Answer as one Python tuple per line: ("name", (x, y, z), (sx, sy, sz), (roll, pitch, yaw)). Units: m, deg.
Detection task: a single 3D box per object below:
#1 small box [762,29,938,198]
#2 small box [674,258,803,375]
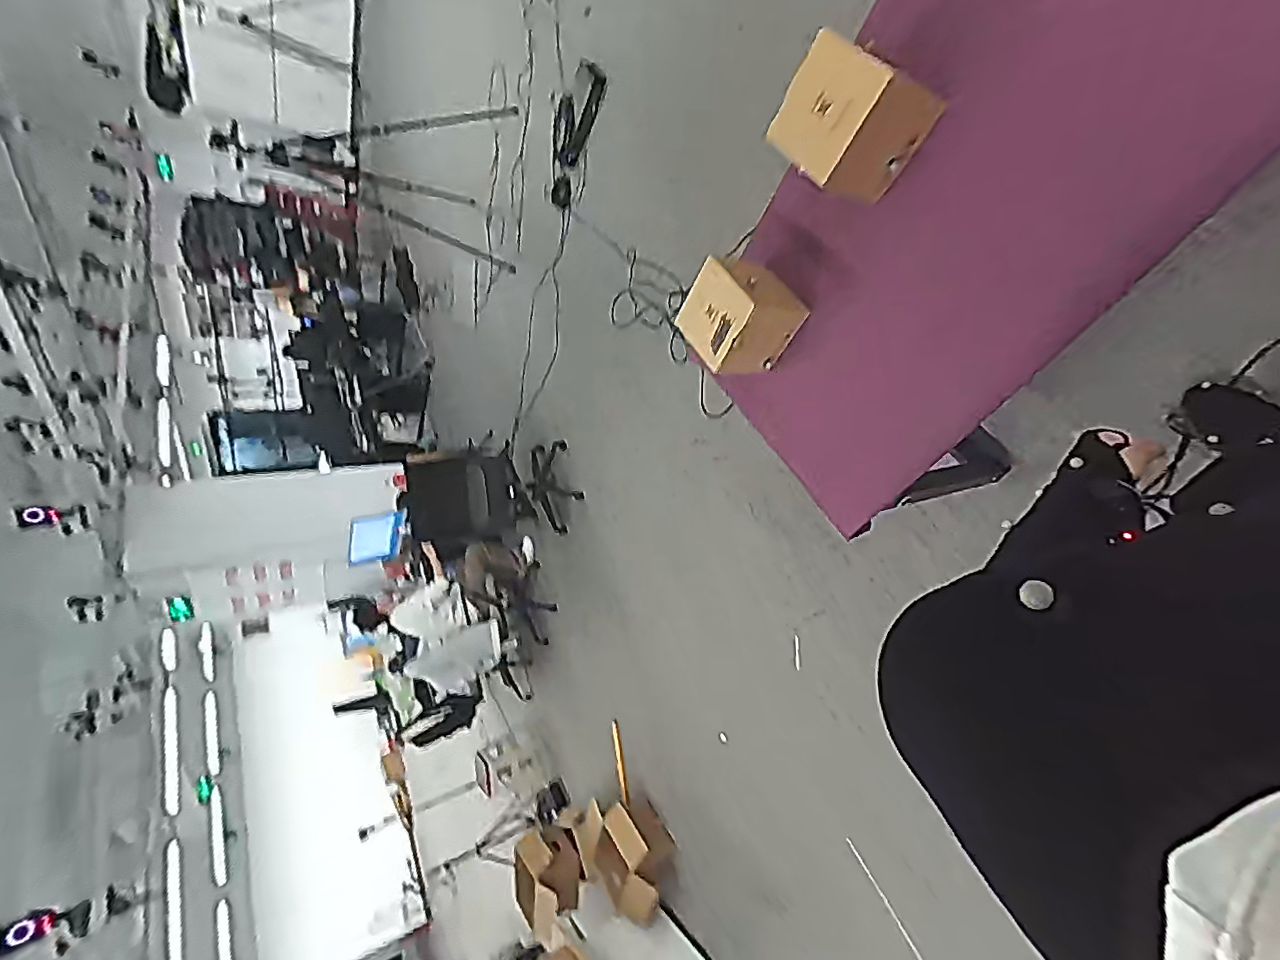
("small box", (0.348, -0.601, 0.907), (0.179, 0.176, 0.168), (59, 140, 26))
("small box", (0.209, -0.345, 1.148), (0.179, 0.176, 0.168), (58, 138, 27))
